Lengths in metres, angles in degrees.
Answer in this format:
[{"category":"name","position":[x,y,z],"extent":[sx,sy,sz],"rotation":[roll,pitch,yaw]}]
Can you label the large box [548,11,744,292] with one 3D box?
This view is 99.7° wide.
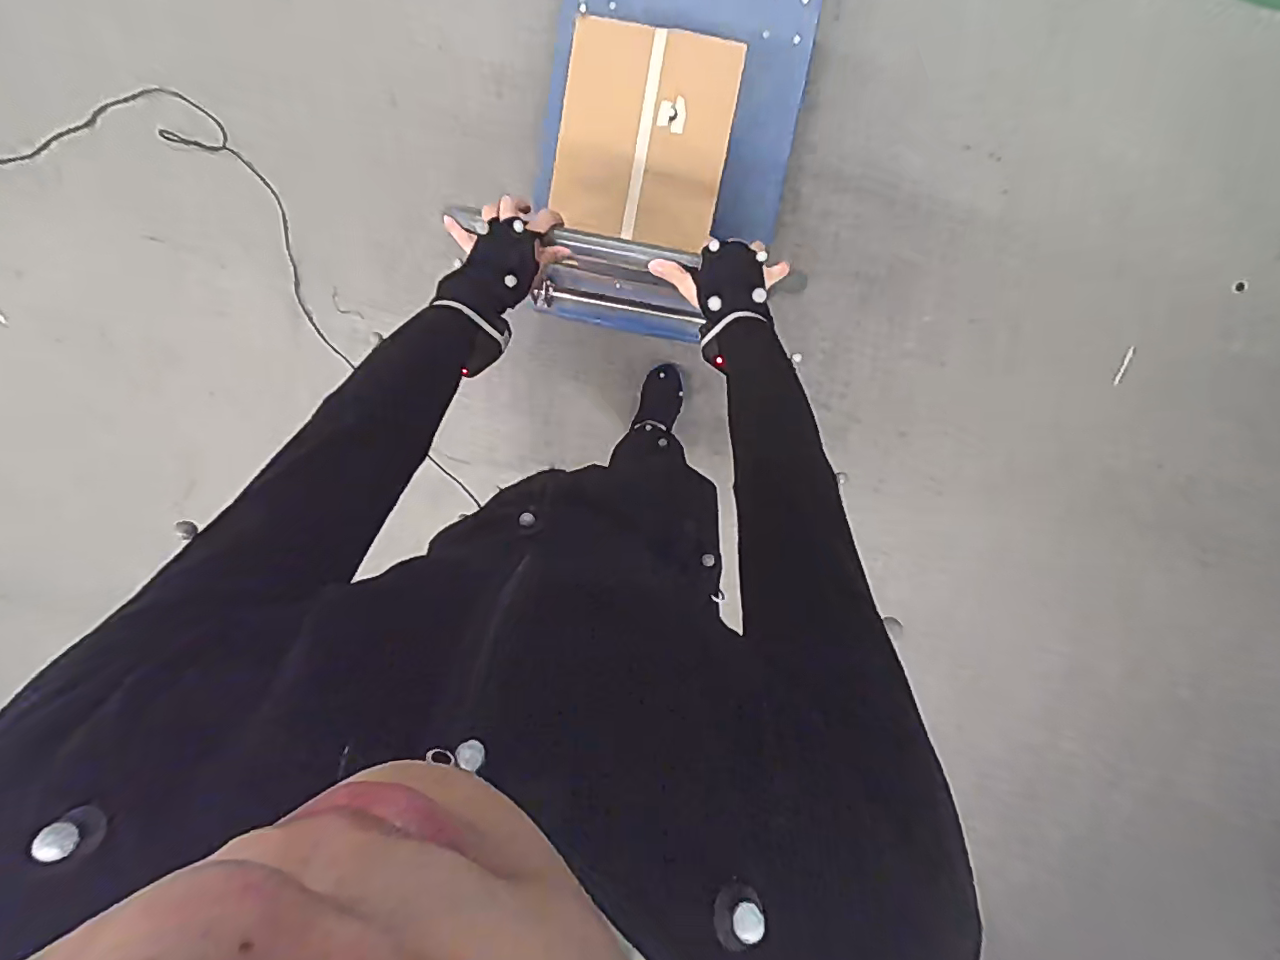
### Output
[{"category":"large box","position":[0.011,-0.649,1.149],"extent":[0.320,0.320,0.408],"rotation":[11,101,0]}]
